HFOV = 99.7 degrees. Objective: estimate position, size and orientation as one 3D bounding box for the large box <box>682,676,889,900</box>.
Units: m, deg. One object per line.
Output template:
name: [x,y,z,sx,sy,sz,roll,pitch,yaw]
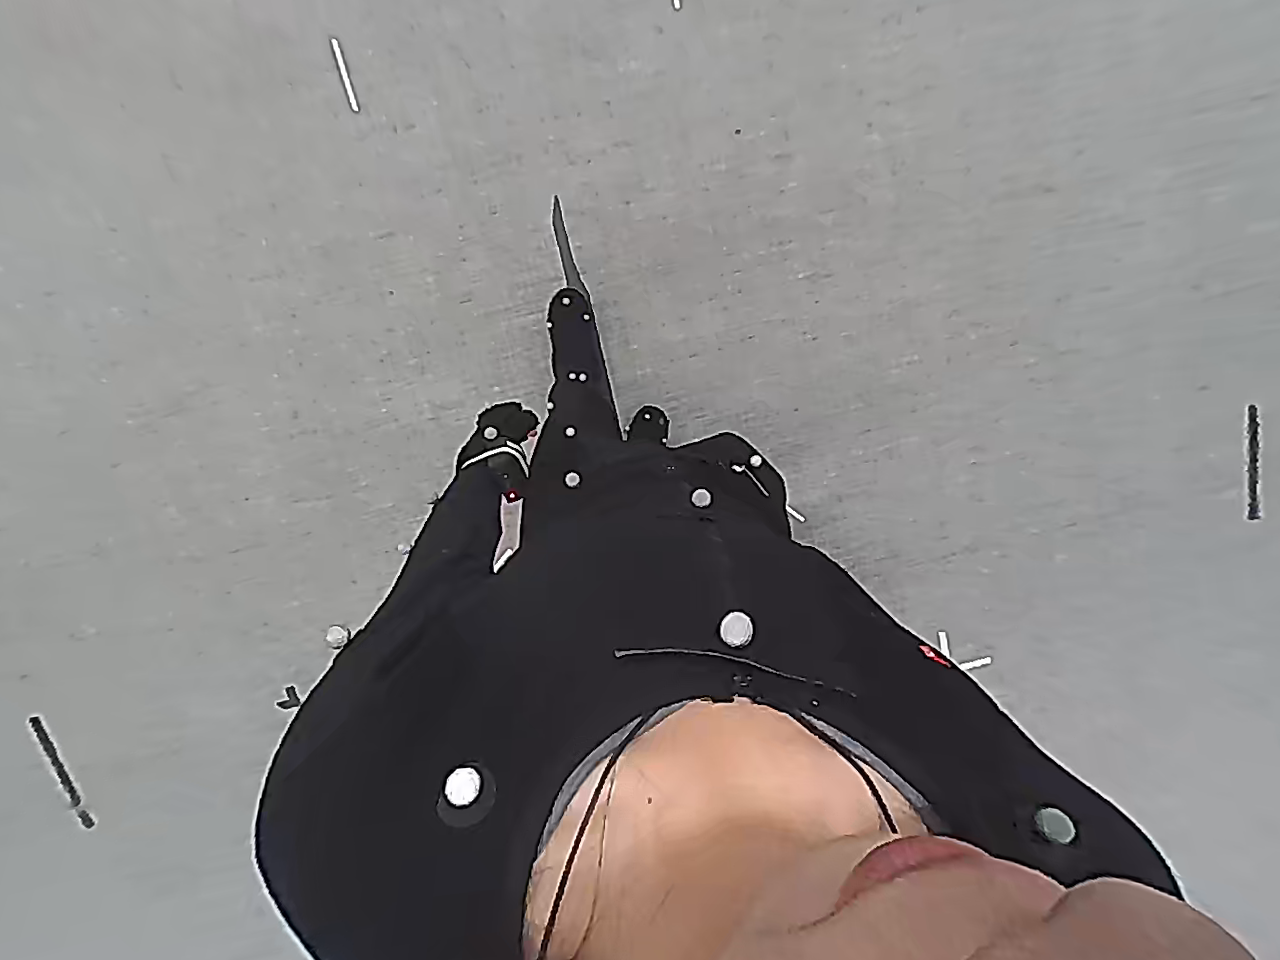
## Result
large box: [0.348,0.757,1.374,0.408,0.320,0.320,-15,102,1]
